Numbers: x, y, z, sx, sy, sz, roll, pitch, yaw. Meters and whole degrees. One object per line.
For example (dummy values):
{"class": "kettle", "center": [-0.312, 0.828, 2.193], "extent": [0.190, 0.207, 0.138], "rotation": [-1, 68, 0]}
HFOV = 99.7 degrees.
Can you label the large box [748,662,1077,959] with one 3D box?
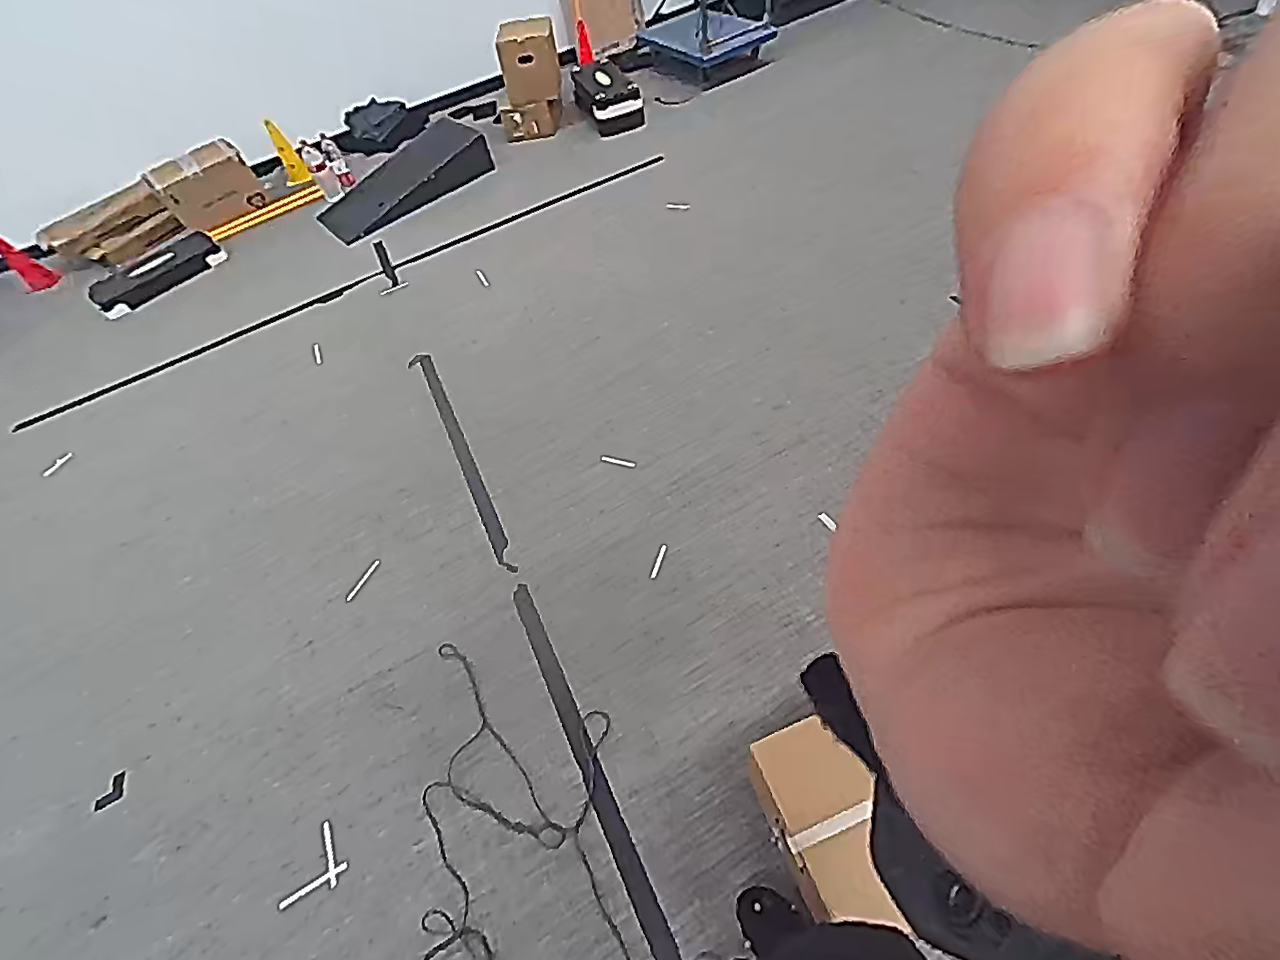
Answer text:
{"class": "large box", "center": [0.450, 0.608, 1.001], "extent": [0.408, 0.320, 0.320], "rotation": [-21, 53, -7]}
